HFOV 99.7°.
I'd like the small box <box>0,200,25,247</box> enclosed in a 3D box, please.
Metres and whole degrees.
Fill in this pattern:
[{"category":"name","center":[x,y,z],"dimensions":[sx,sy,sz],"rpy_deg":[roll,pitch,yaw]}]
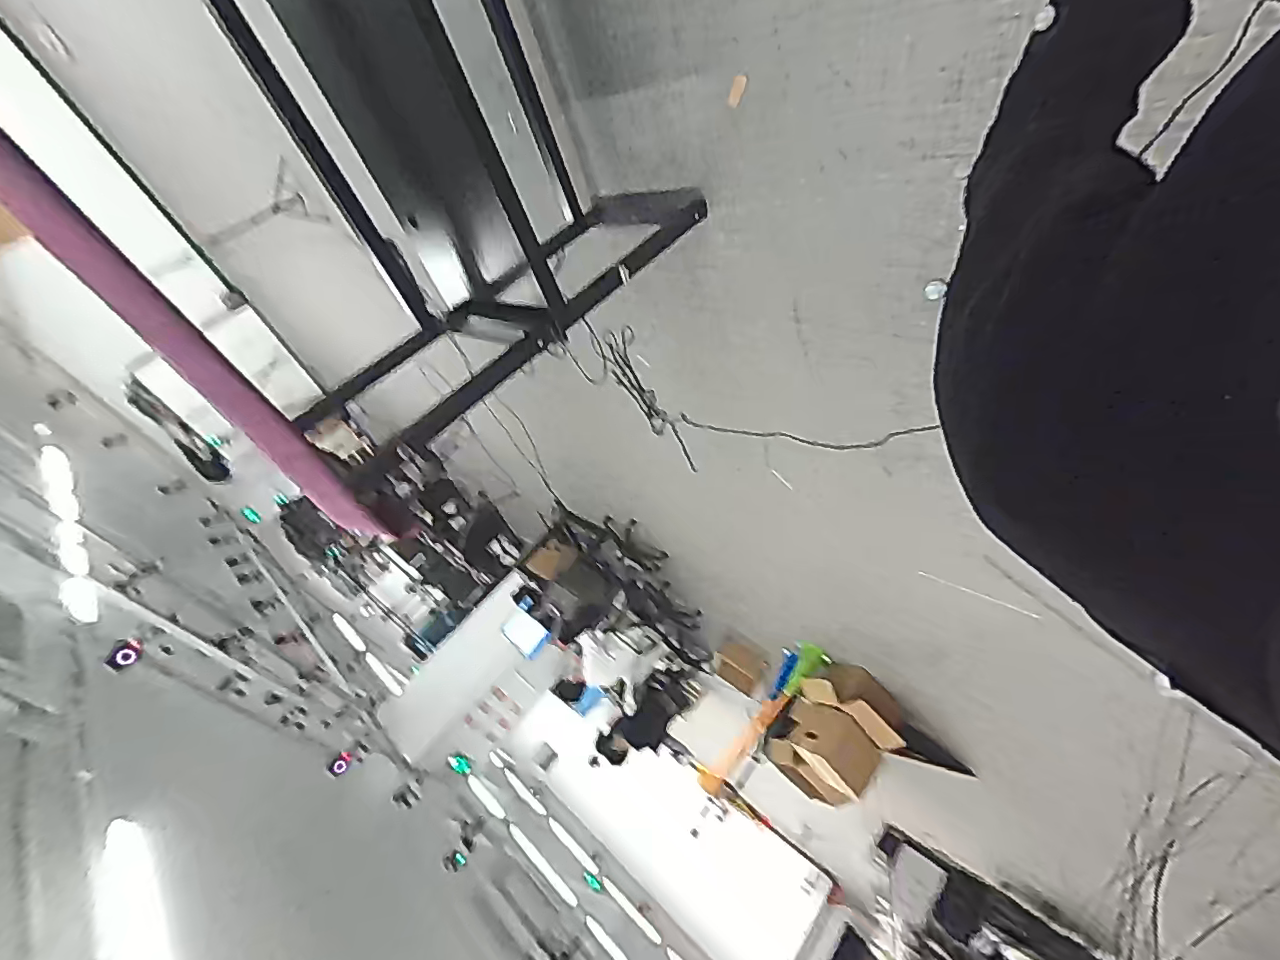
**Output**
[{"category":"small box","center":[-1.052,-0.400,0.771],"dimensions":[0.179,0.176,0.168],"rpy_deg":[27,152,35]}]
